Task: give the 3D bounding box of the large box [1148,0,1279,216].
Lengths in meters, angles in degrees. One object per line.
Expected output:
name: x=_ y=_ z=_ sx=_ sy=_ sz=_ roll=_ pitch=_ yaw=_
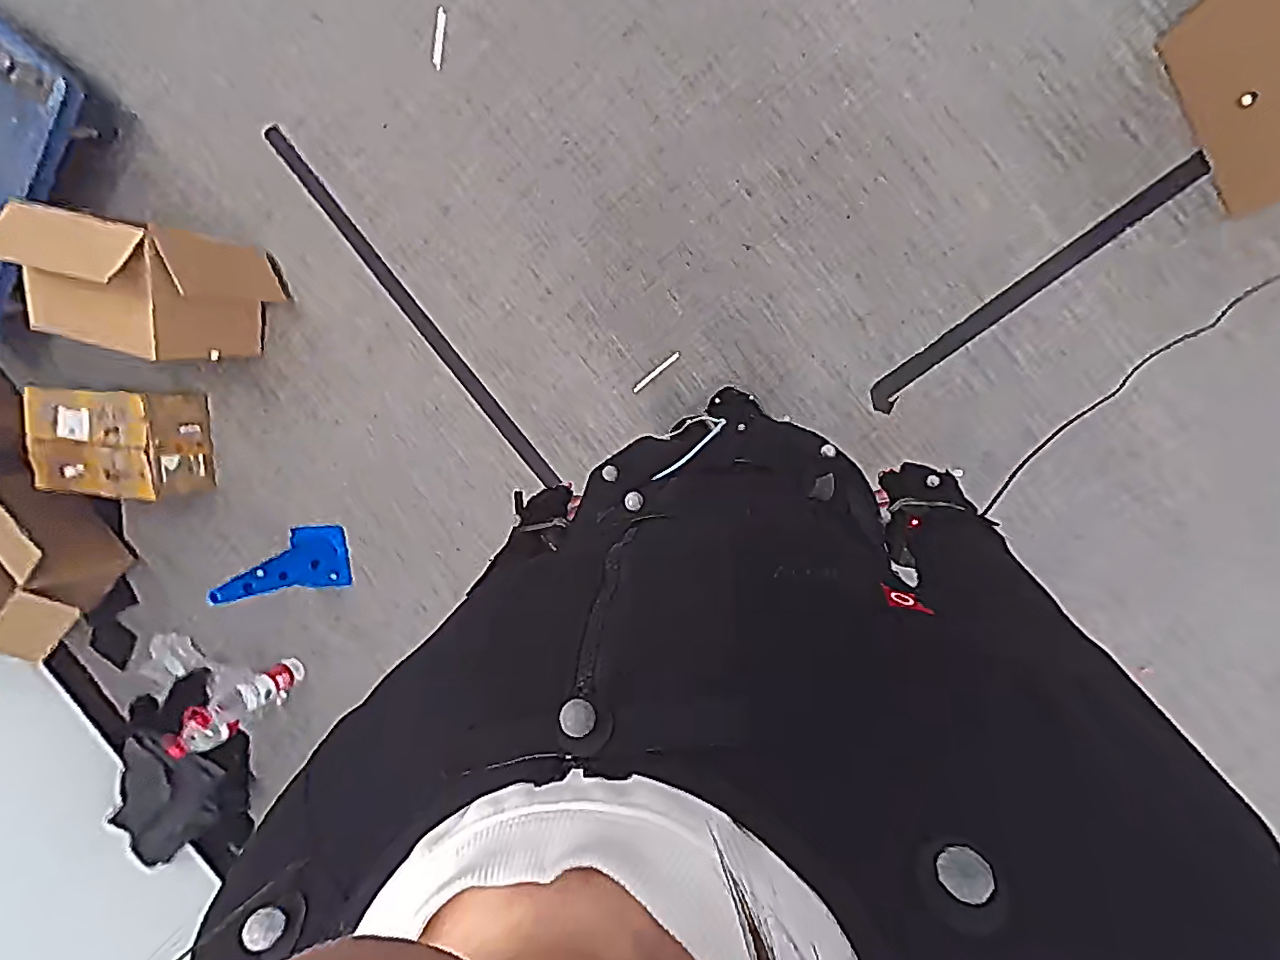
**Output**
large box: x=1.229 y=-0.763 z=0.939 sx=0.320 sy=0.320 sz=0.408 roll=-26 pitch=92 yaw=14
